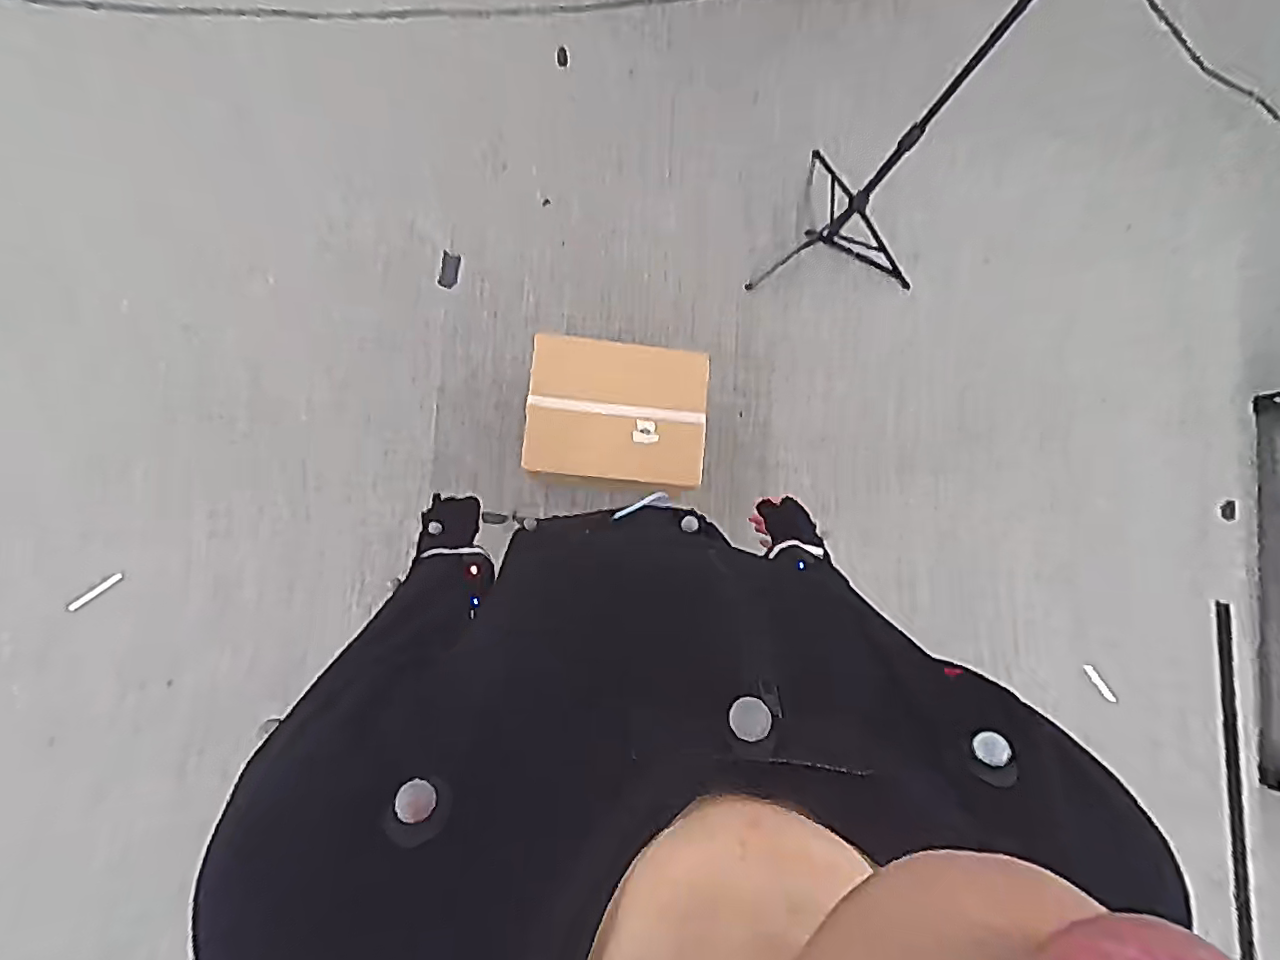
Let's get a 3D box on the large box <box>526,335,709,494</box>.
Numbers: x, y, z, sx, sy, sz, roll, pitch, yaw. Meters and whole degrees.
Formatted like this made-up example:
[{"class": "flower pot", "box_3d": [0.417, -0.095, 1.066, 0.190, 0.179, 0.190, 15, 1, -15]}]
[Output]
[{"class": "large box", "box_3d": [-0.064, -0.145, 1.375, 0.408, 0.320, 0.320, 6, 84, -6]}]
